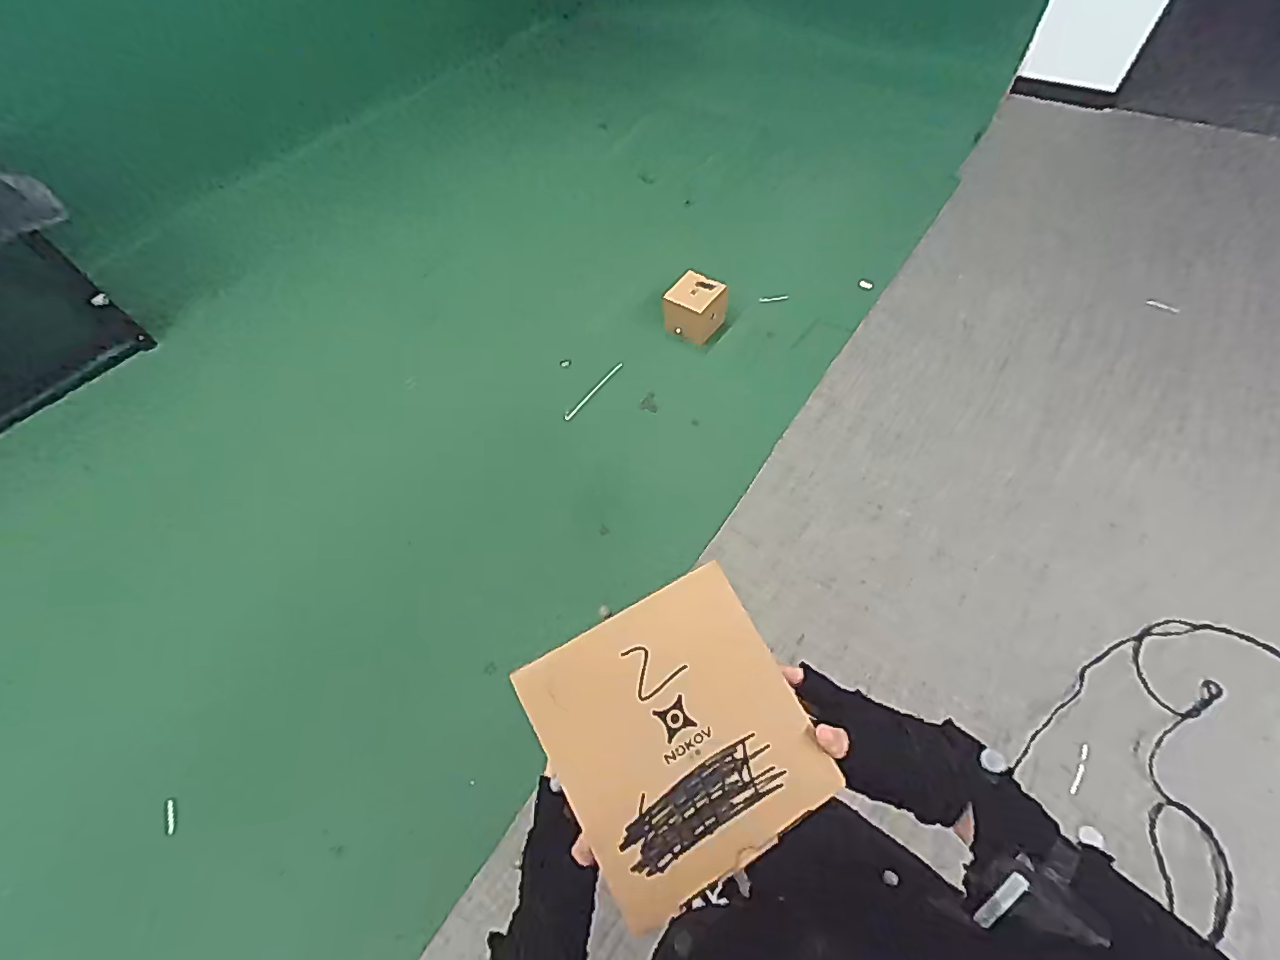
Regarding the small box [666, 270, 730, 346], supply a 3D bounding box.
[{"bbox_3d":[0.211,-0.632,1.995,0.168,0.176,0.179,31,66,22],"label":"small box"}]
